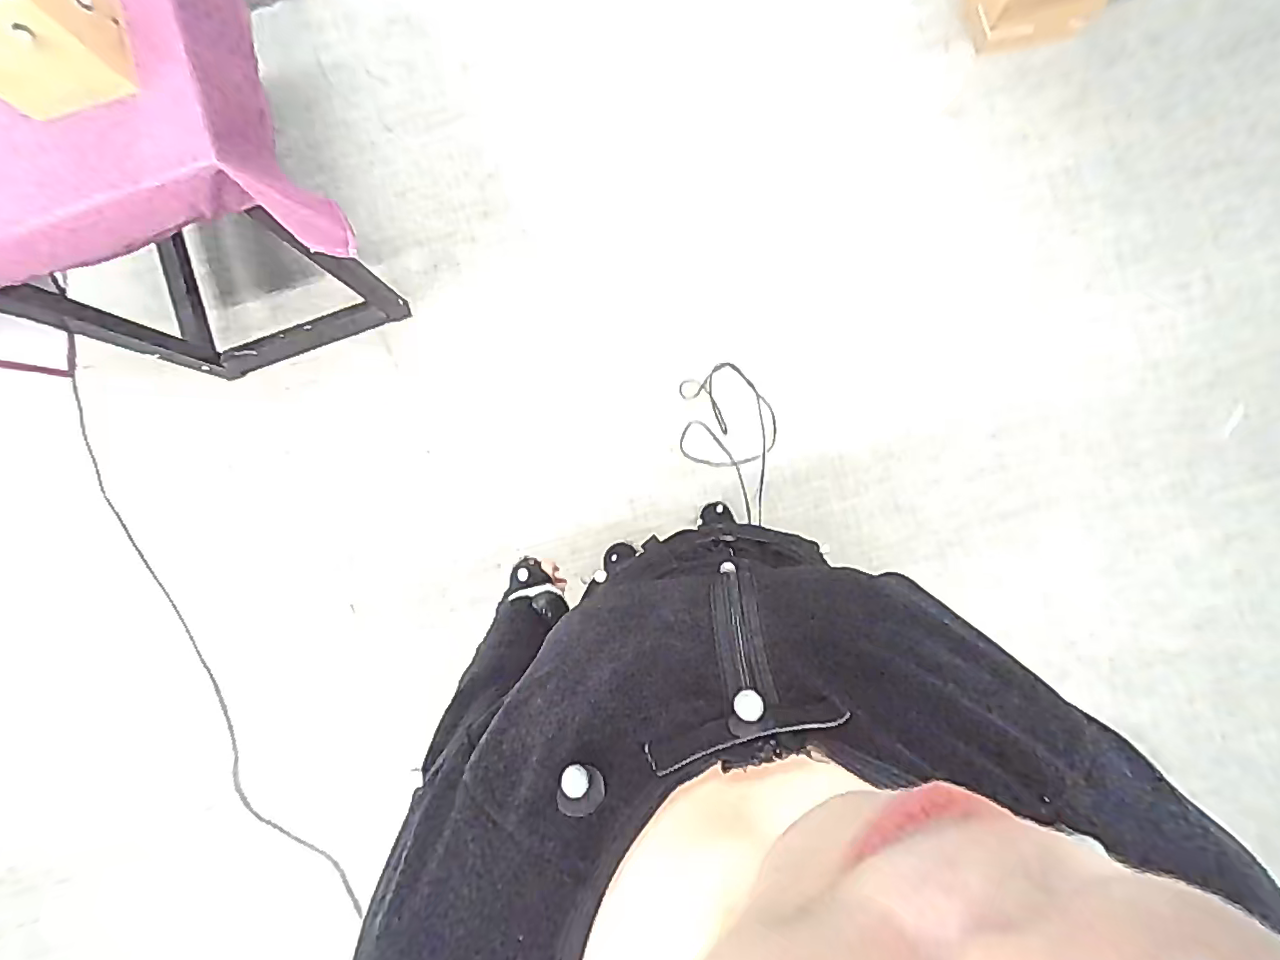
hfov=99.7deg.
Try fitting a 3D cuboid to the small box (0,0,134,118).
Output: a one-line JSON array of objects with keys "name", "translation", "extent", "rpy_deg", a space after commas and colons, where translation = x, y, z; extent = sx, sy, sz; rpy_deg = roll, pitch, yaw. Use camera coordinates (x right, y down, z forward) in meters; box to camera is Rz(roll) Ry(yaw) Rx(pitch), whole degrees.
[{"name": "small box", "translation": [-0.894, -0.677, 0.787], "extent": [0.179, 0.176, 0.168], "rpy_deg": [-16, 86, 2]}]
